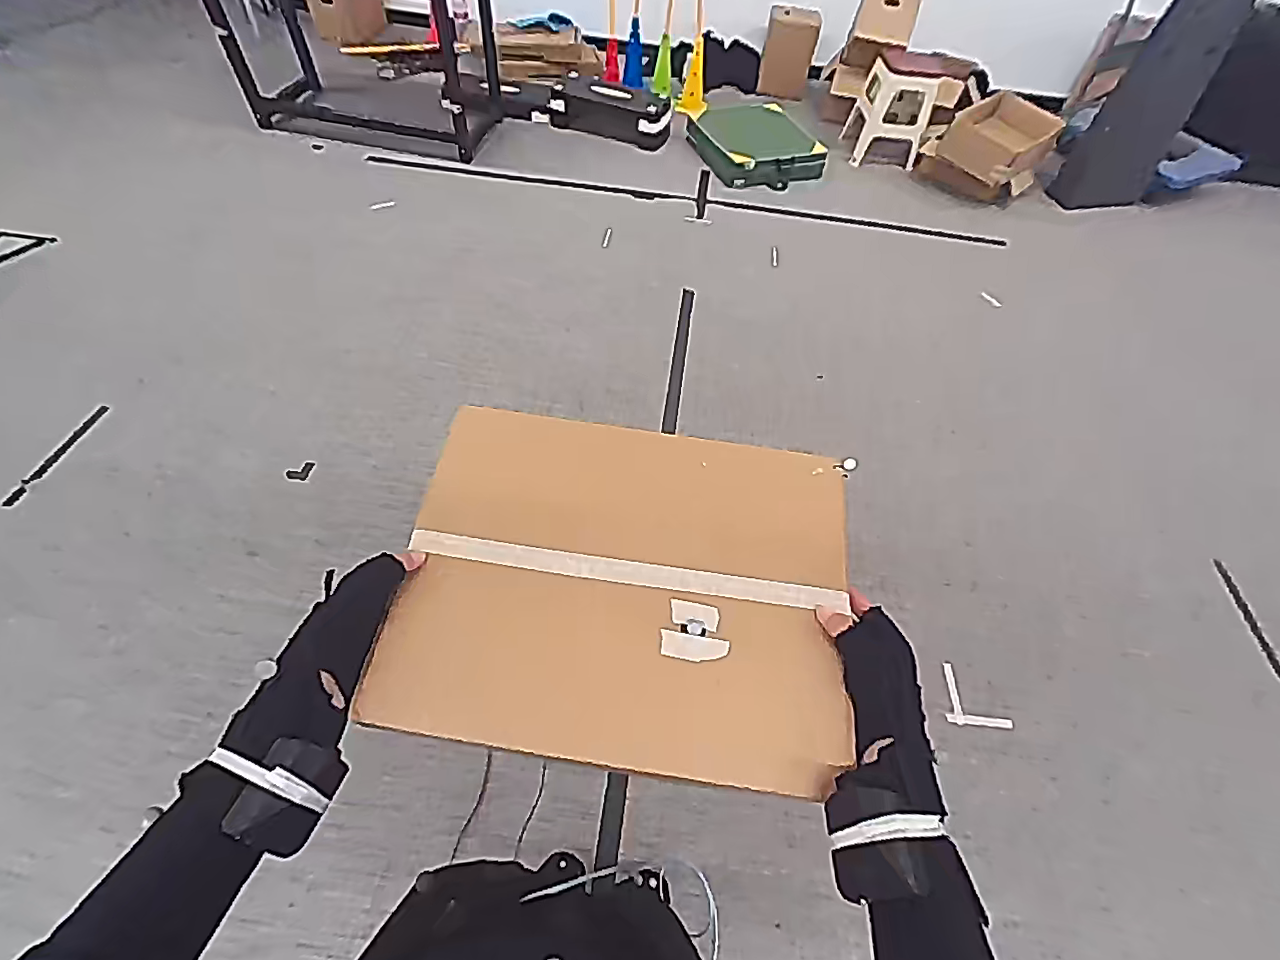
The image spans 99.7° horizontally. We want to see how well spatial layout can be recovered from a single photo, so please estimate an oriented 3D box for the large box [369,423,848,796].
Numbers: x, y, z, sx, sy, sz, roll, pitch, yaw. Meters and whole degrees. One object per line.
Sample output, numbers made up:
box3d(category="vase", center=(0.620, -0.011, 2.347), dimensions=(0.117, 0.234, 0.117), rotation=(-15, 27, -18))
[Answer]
box3d(category="large box", center=(-0.017, 0.165, 0.639), dimensions=(0.408, 0.320, 0.320), rotation=(8, 62, 2))
